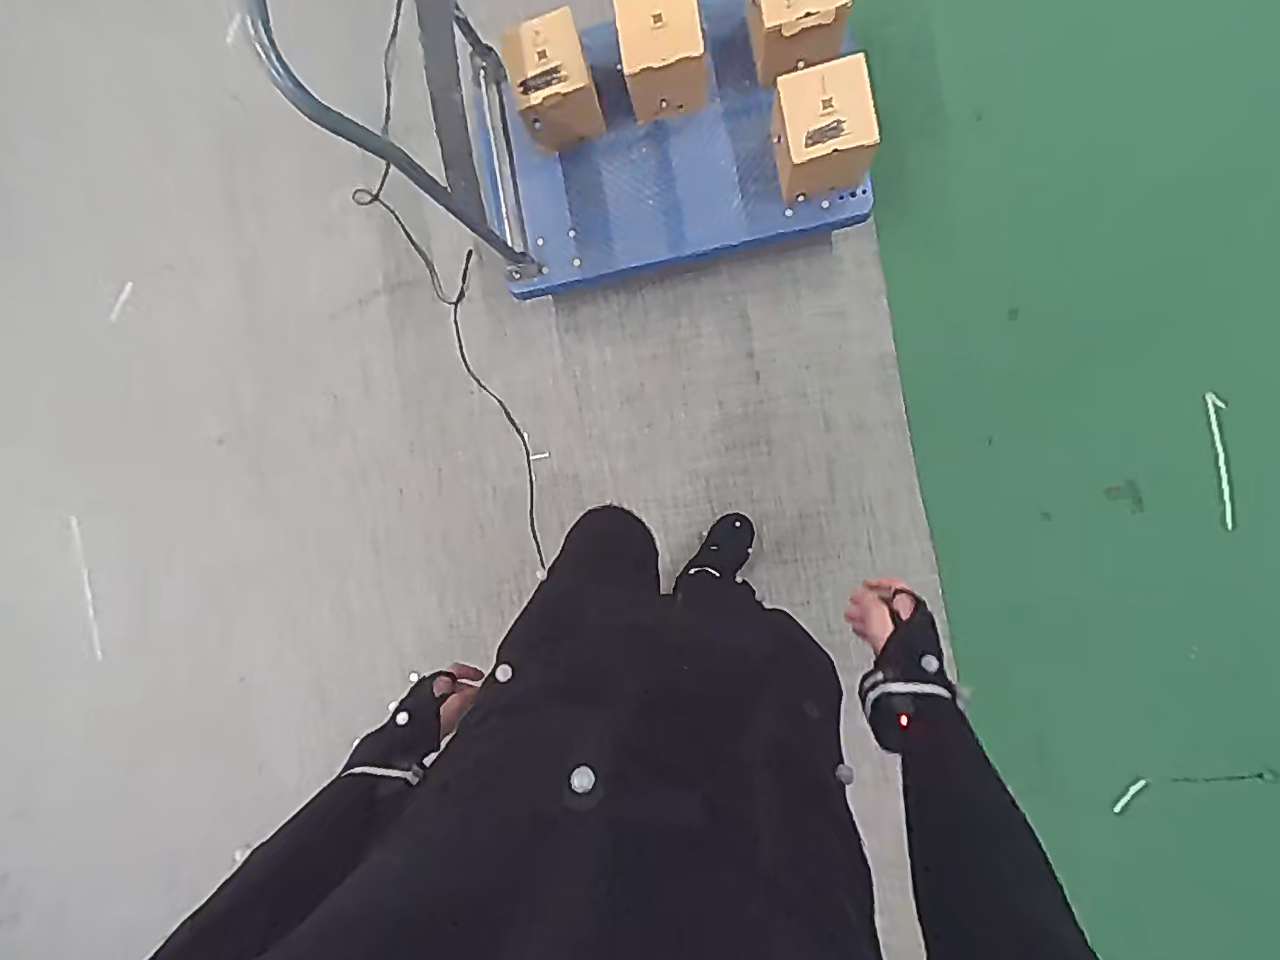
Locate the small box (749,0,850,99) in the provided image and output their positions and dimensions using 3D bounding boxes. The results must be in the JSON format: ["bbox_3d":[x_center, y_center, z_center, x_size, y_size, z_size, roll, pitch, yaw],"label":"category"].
[{"bbox_3d":[0.325,-0.955,1.132,0.168,0.176,0.179,-10,90,10],"label":"small box"}]

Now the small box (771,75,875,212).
[{"bbox_3d":[0.379,-0.695,1.145,0.168,0.176,0.179,-10,89,8],"label":"small box"}]

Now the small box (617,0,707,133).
[{"bbox_3d":[0.053,-0.906,1.177,0.168,0.176,0.179,-9,91,8],"label":"small box"}]
